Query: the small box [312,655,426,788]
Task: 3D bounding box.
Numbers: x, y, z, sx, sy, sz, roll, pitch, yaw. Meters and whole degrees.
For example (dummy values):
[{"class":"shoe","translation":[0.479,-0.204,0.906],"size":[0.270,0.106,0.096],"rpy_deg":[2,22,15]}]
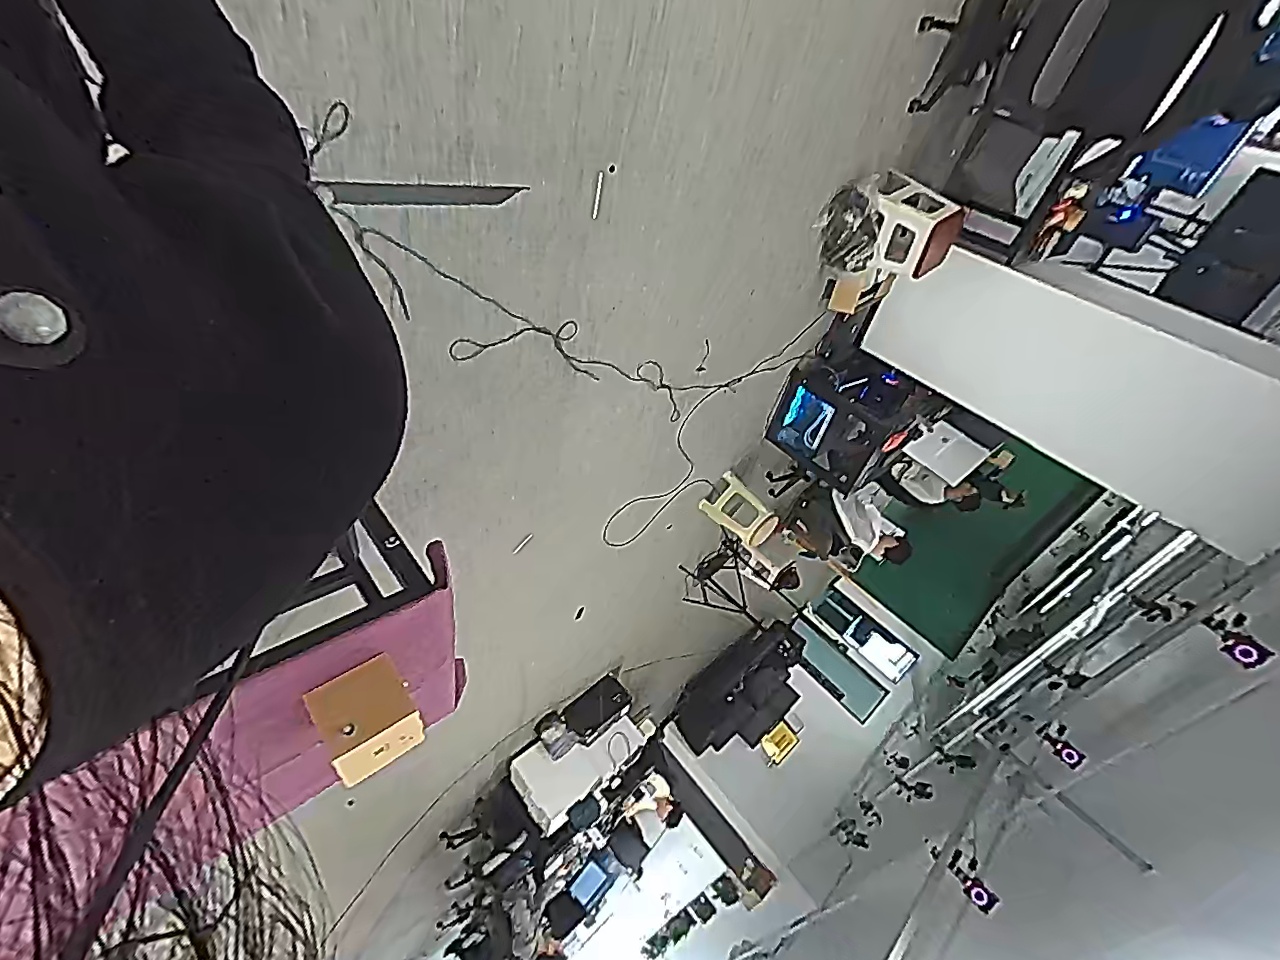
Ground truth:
[{"class":"small box","translation":[-0.599,0.528,1.195],"size":[0.179,0.176,0.168],"rpy_deg":[-26,146,-35]}]
